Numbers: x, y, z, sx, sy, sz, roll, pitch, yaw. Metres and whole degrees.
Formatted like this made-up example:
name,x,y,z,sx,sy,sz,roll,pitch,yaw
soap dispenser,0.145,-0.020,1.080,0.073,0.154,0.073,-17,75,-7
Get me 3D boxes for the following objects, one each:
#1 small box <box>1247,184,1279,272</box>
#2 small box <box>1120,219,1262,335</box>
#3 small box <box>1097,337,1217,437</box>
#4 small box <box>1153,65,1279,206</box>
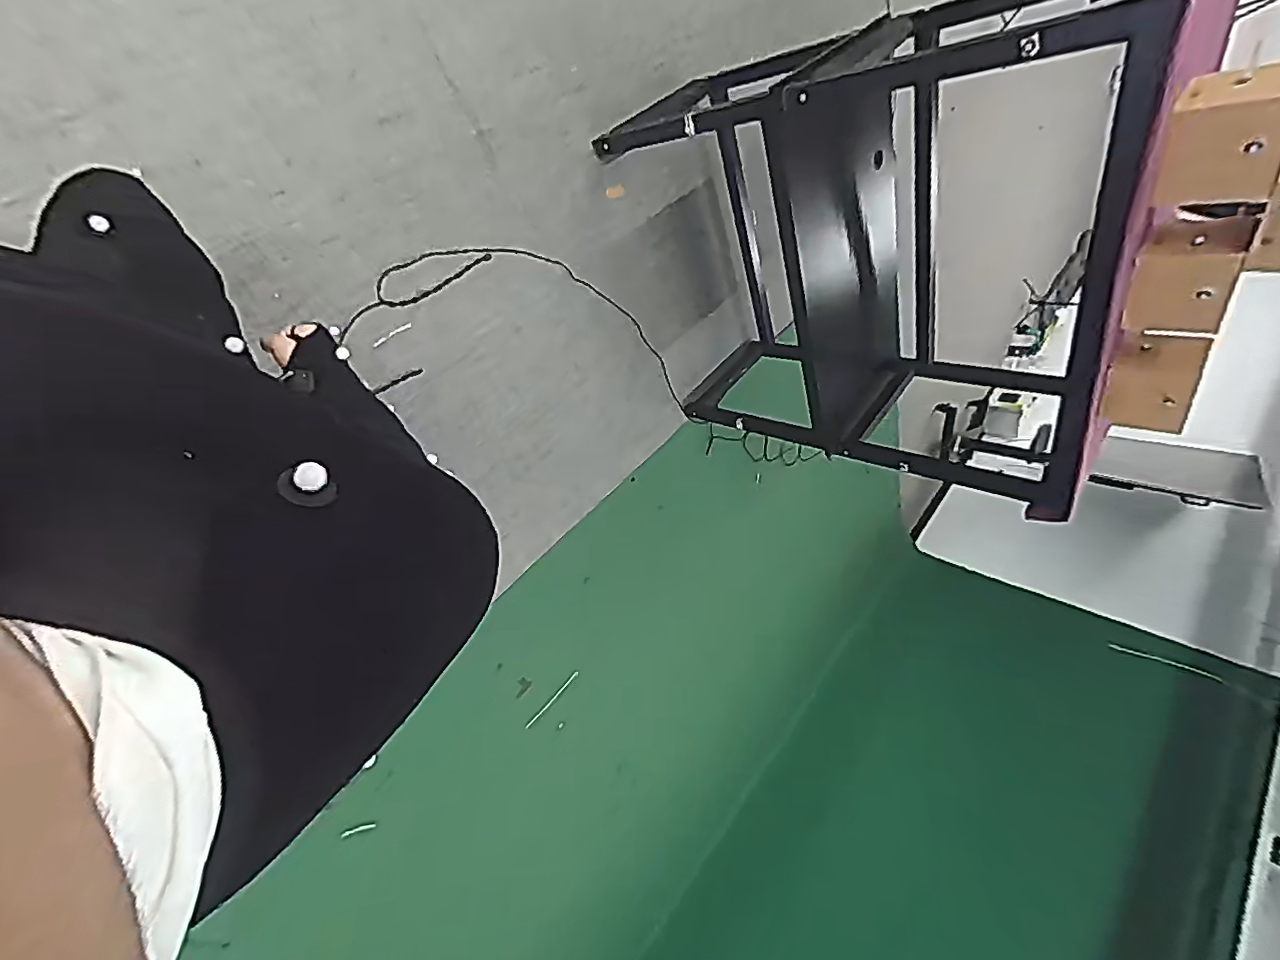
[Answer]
name,x,y,z,sx,sy,sz,roll,pitch,yaw
small box,1.250,-0.486,0.976,0.179,0.176,0.168,-44,133,-26
small box,1.167,-0.432,1.158,0.168,0.176,0.179,-45,133,-24
small box,1.261,-0.235,1.331,0.168,0.176,0.179,-45,131,-24
small box,1.087,-0.630,0.995,0.168,0.176,0.179,-46,133,-22
